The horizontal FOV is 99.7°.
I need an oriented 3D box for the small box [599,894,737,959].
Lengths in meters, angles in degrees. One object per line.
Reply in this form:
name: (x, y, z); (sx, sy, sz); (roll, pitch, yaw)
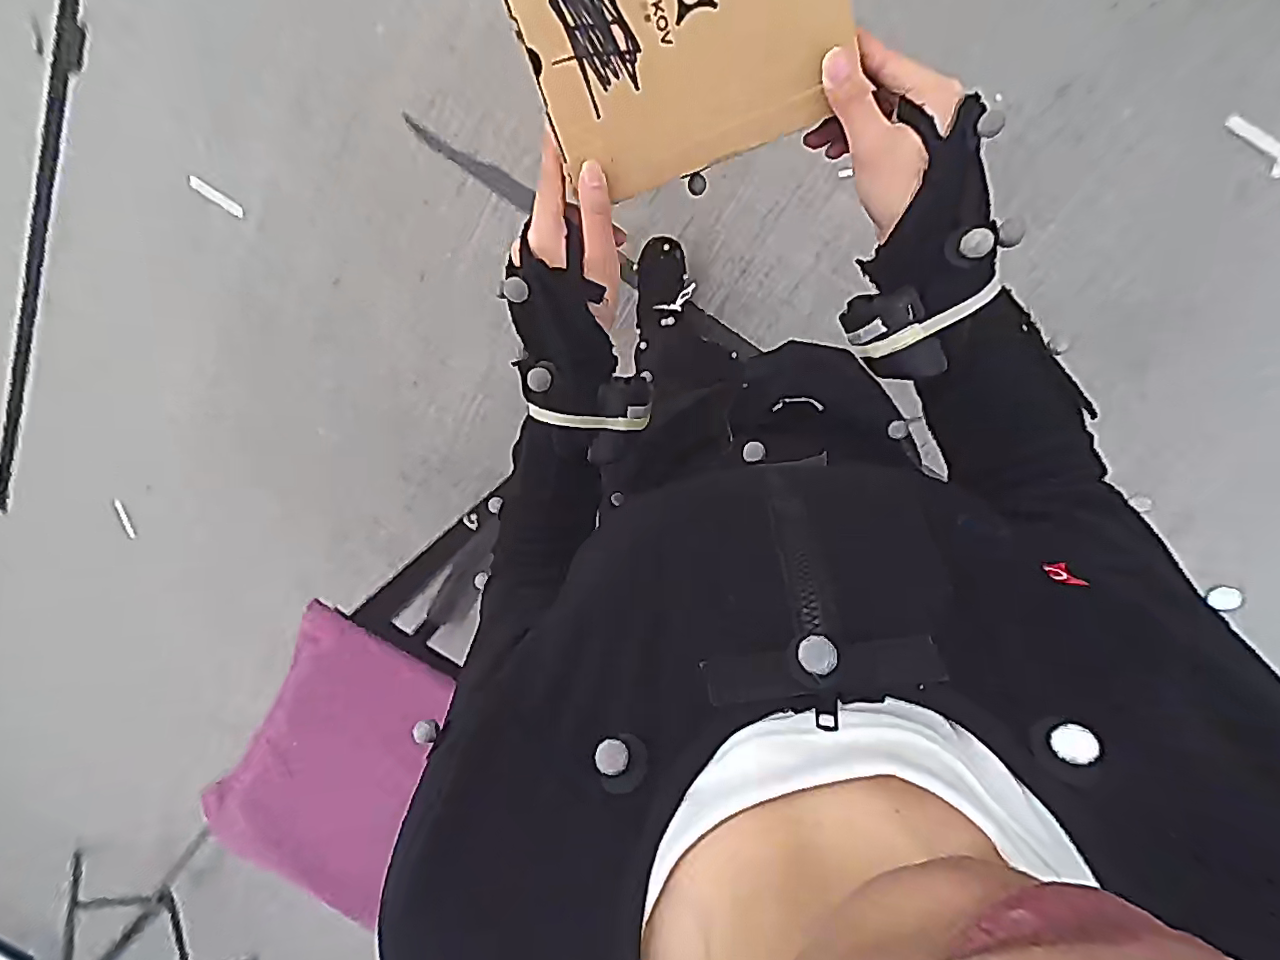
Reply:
small box: (0.033, 0.780, 0.820); (0.179, 0.176, 0.168); (30, 111, -1)

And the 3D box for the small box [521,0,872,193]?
small box: (0.027, -0.301, 0.352); (0.179, 0.176, 0.168); (-15, 117, 11)
